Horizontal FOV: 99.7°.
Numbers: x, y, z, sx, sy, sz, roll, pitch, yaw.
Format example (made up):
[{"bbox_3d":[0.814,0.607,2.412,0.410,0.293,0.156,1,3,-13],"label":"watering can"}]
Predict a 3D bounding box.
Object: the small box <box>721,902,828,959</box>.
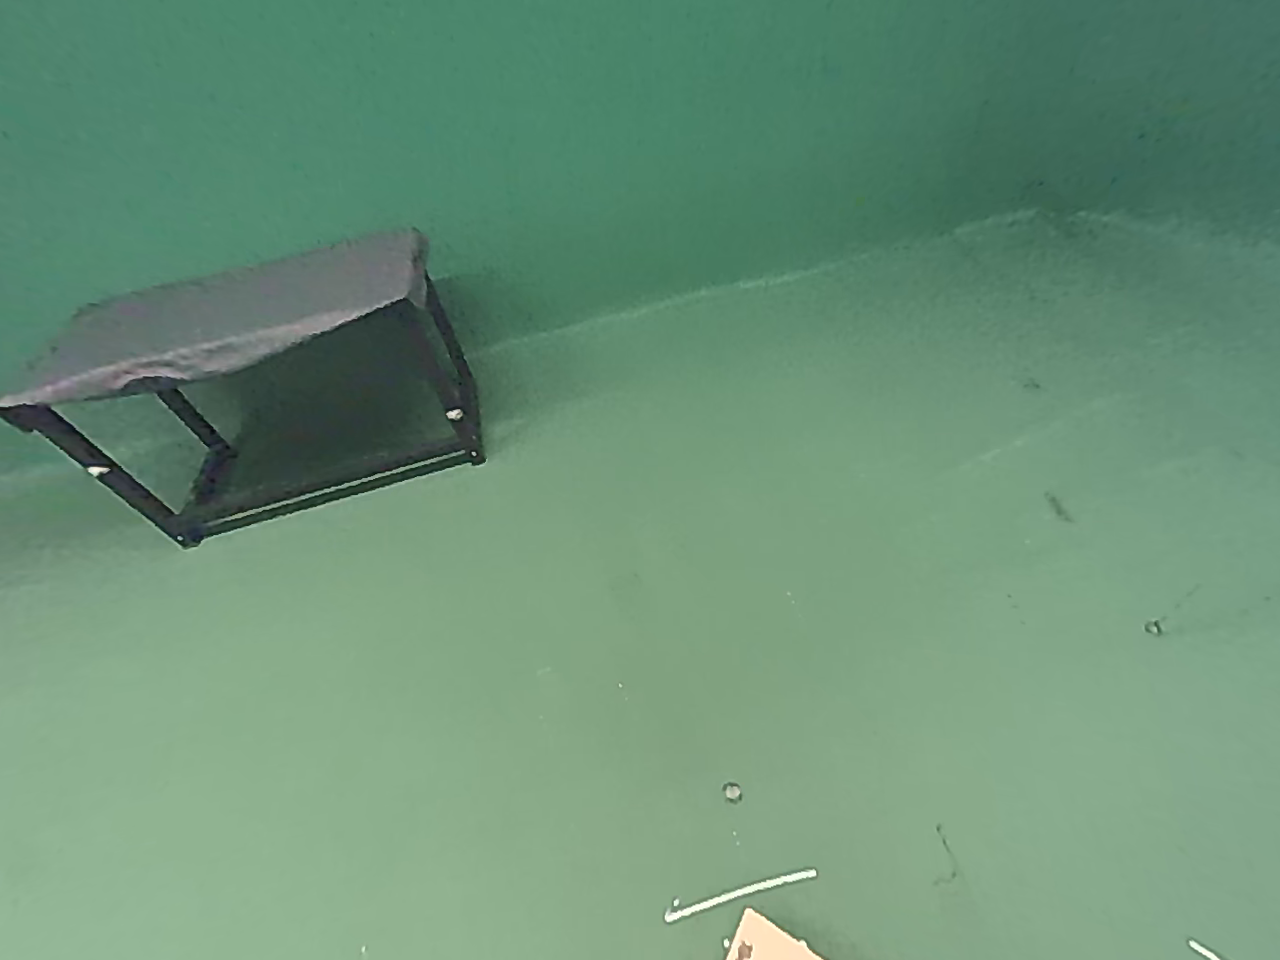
[{"bbox_3d":[0.225,0.869,0.922,0.179,0.176,0.168,20,53,28],"label":"small box"}]
